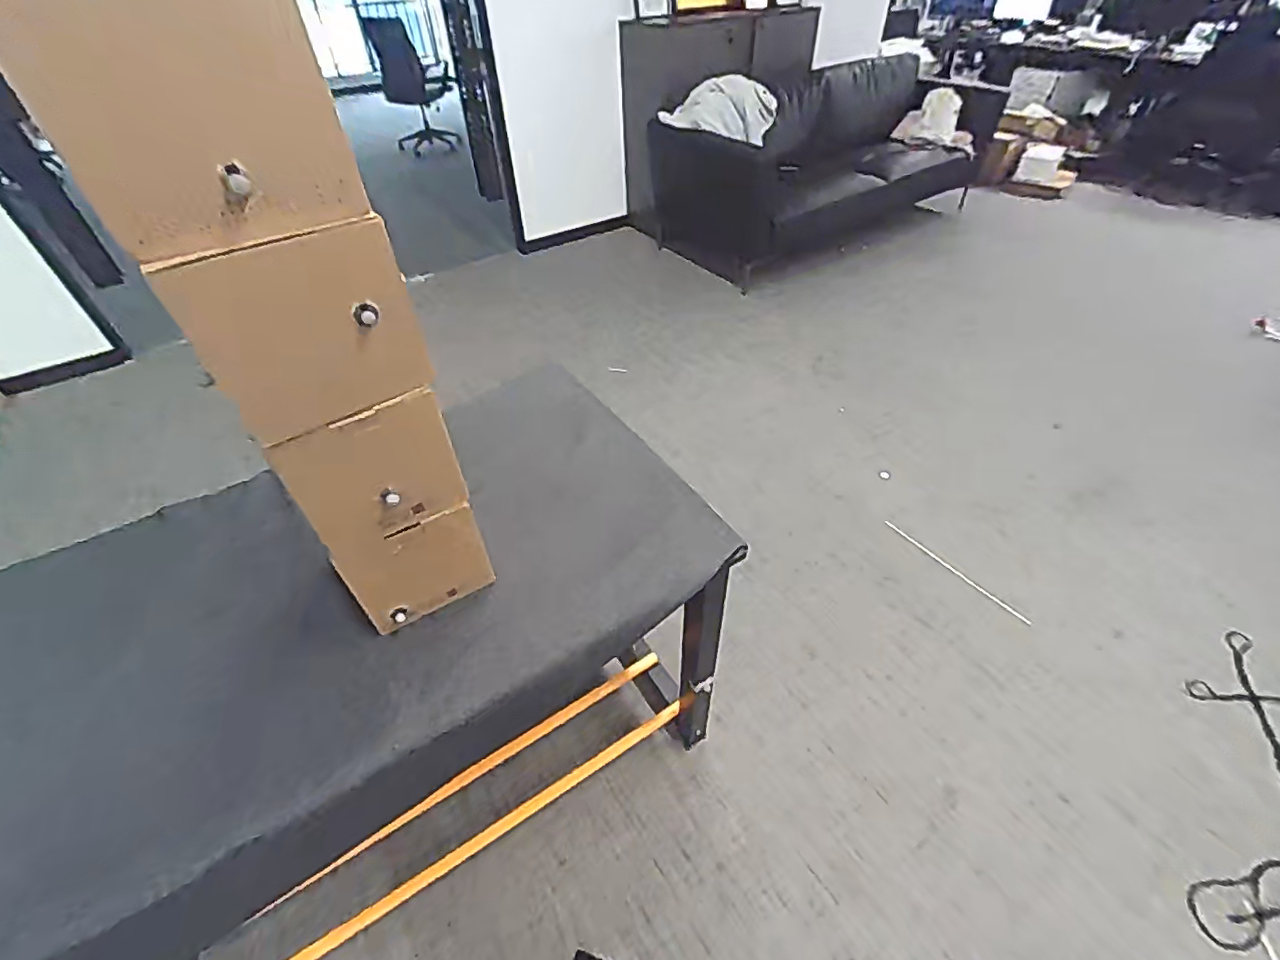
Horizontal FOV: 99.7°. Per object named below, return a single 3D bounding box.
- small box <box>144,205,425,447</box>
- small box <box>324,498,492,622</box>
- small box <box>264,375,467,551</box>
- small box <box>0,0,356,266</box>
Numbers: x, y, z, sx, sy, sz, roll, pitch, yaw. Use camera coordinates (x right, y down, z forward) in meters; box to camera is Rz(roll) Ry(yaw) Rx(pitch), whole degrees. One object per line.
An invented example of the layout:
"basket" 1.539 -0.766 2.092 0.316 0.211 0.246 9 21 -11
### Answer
"small box" -0.333 -0.163 0.527 0.179 0.176 0.168 -32 49 -26
"small box" -0.324 0.072 0.754 0.168 0.176 0.179 -25 47 -22
"small box" -0.329 -0.049 0.643 0.168 0.176 0.179 -27 49 -23
"small box" -0.349 -0.291 0.424 0.179 0.176 0.168 -28 48 -25
